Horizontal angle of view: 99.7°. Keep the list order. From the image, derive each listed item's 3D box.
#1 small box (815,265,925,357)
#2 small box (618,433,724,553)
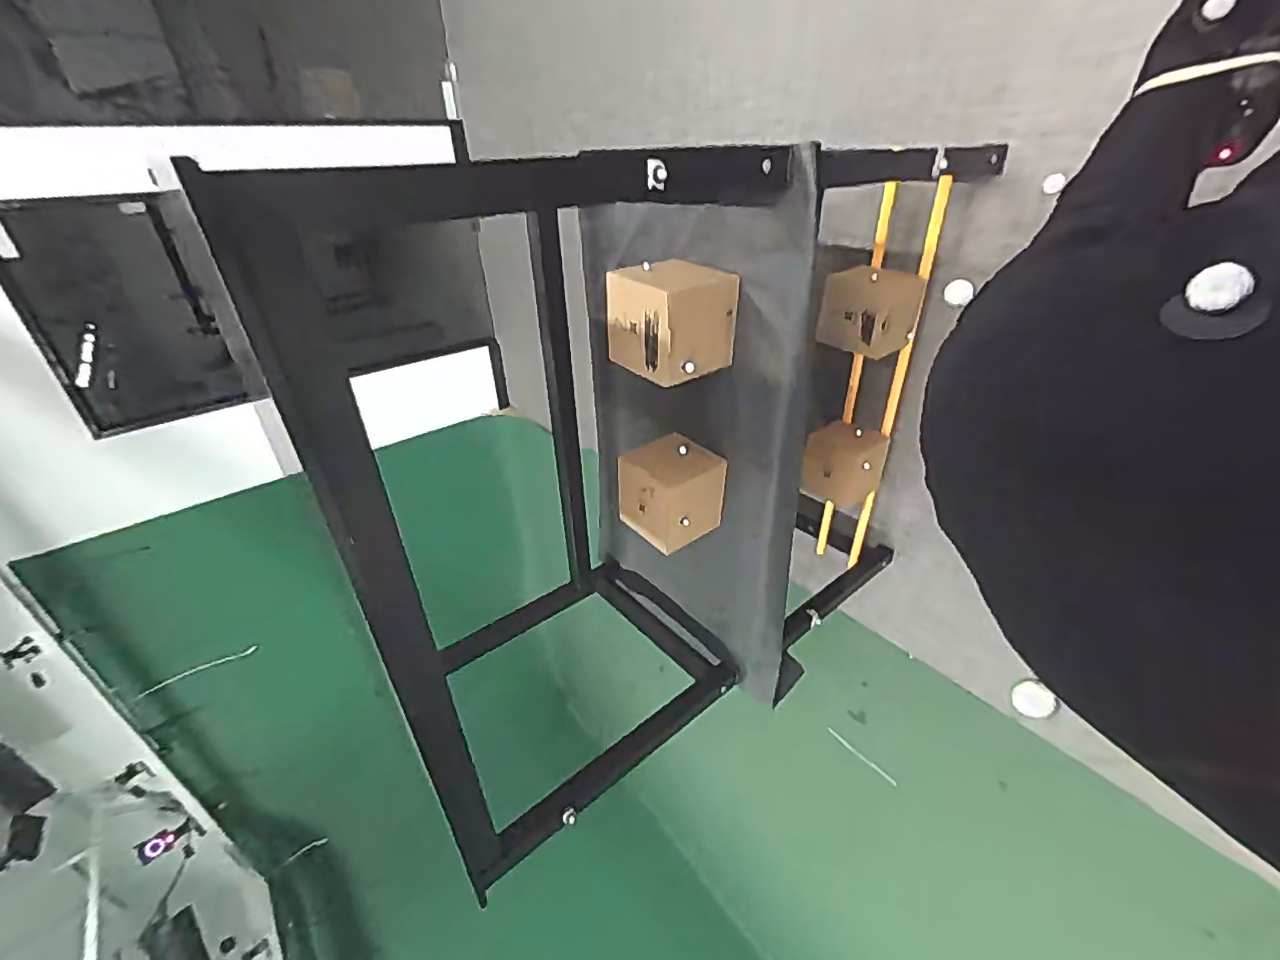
[{"bbox_3d":[0.568,-0.425,1.337,0.179,0.176,0.168,34,136,39],"label":"small box"},{"bbox_3d":[0.067,0.022,1.187,0.168,0.176,0.179,34,136,39],"label":"small box"}]
